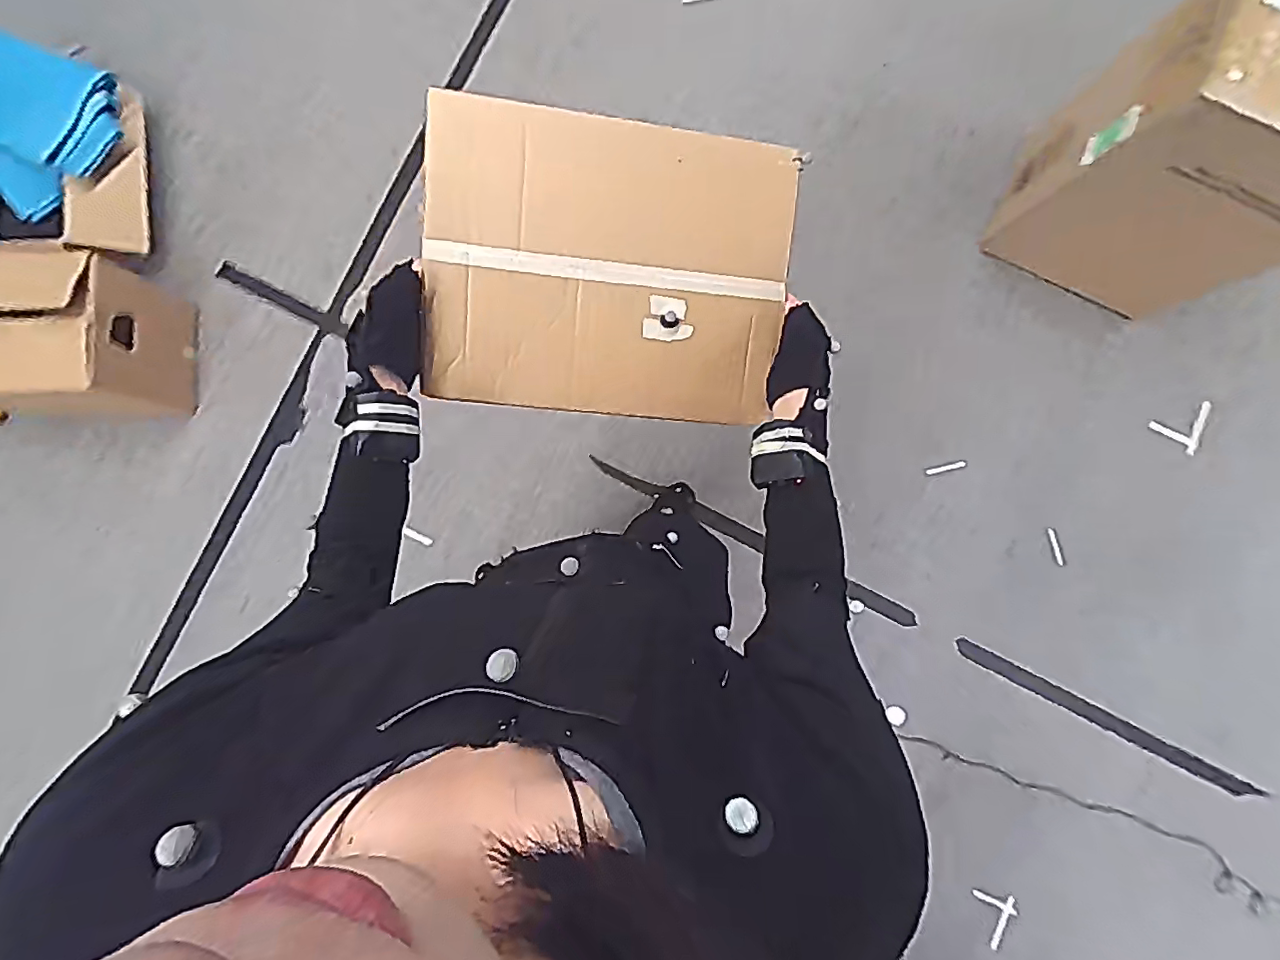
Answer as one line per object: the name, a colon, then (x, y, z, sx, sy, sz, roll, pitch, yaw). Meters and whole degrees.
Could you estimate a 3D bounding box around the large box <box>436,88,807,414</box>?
large box: (-0.040, -0.262, 0.746, 0.408, 0.320, 0.320, 4, 99, -9)
